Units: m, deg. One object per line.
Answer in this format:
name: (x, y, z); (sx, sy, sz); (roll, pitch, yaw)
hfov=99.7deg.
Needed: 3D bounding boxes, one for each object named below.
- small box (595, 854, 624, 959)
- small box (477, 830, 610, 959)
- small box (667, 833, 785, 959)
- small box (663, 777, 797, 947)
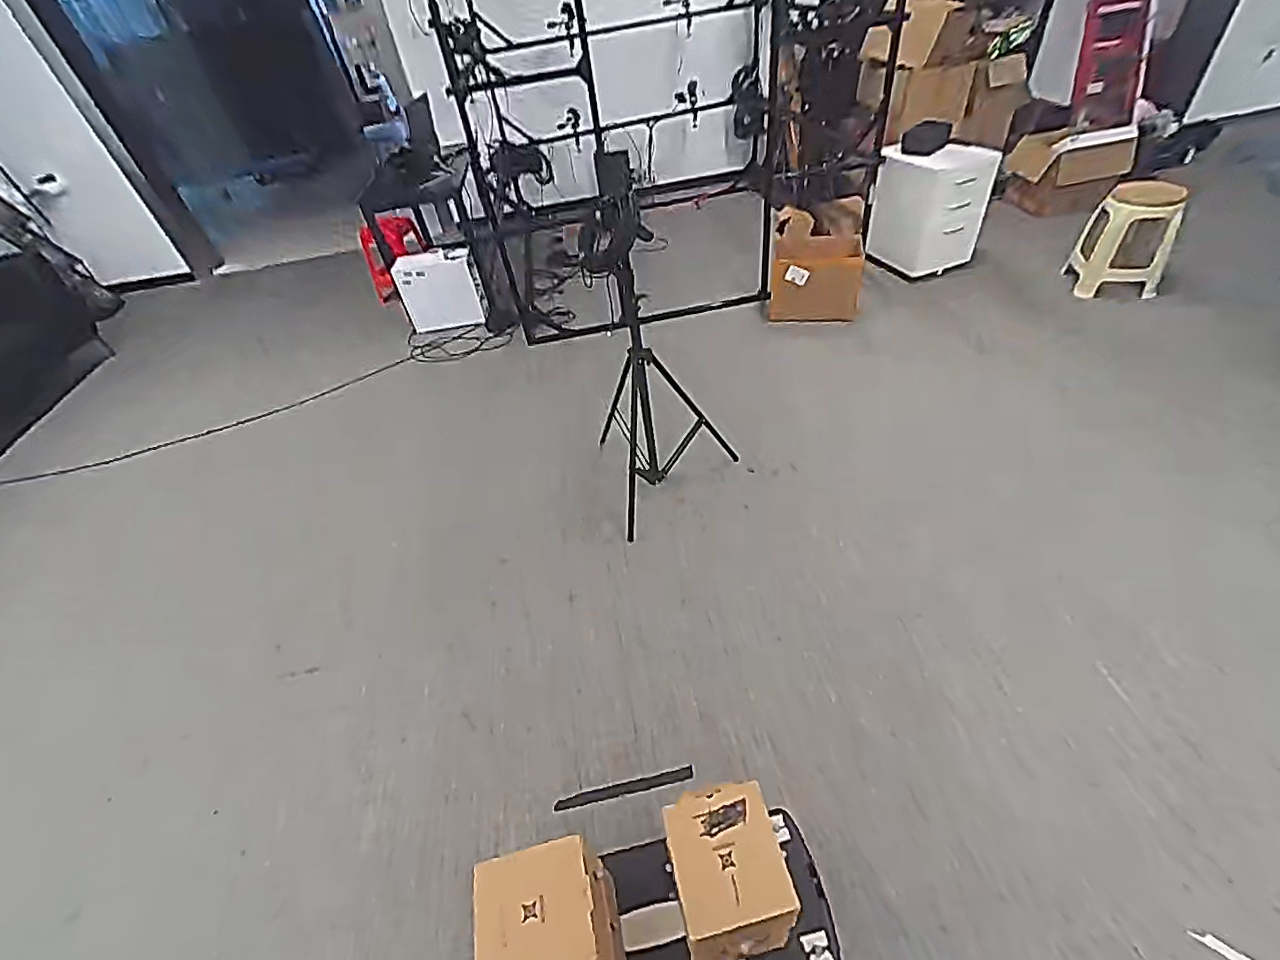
small box: (-0.129, 0.815, 0.978); (0.179, 0.176, 0.168); (-13, 43, -6)
small box: (-0.149, 0.696, 0.865); (0.179, 0.176, 0.168); (-15, 42, -5)
small box: (0.153, 0.748, 0.995); (0.168, 0.176, 0.179); (-14, 43, -3)
small box: (0.140, 0.625, 0.886); (0.168, 0.176, 0.179); (-14, 44, -4)
